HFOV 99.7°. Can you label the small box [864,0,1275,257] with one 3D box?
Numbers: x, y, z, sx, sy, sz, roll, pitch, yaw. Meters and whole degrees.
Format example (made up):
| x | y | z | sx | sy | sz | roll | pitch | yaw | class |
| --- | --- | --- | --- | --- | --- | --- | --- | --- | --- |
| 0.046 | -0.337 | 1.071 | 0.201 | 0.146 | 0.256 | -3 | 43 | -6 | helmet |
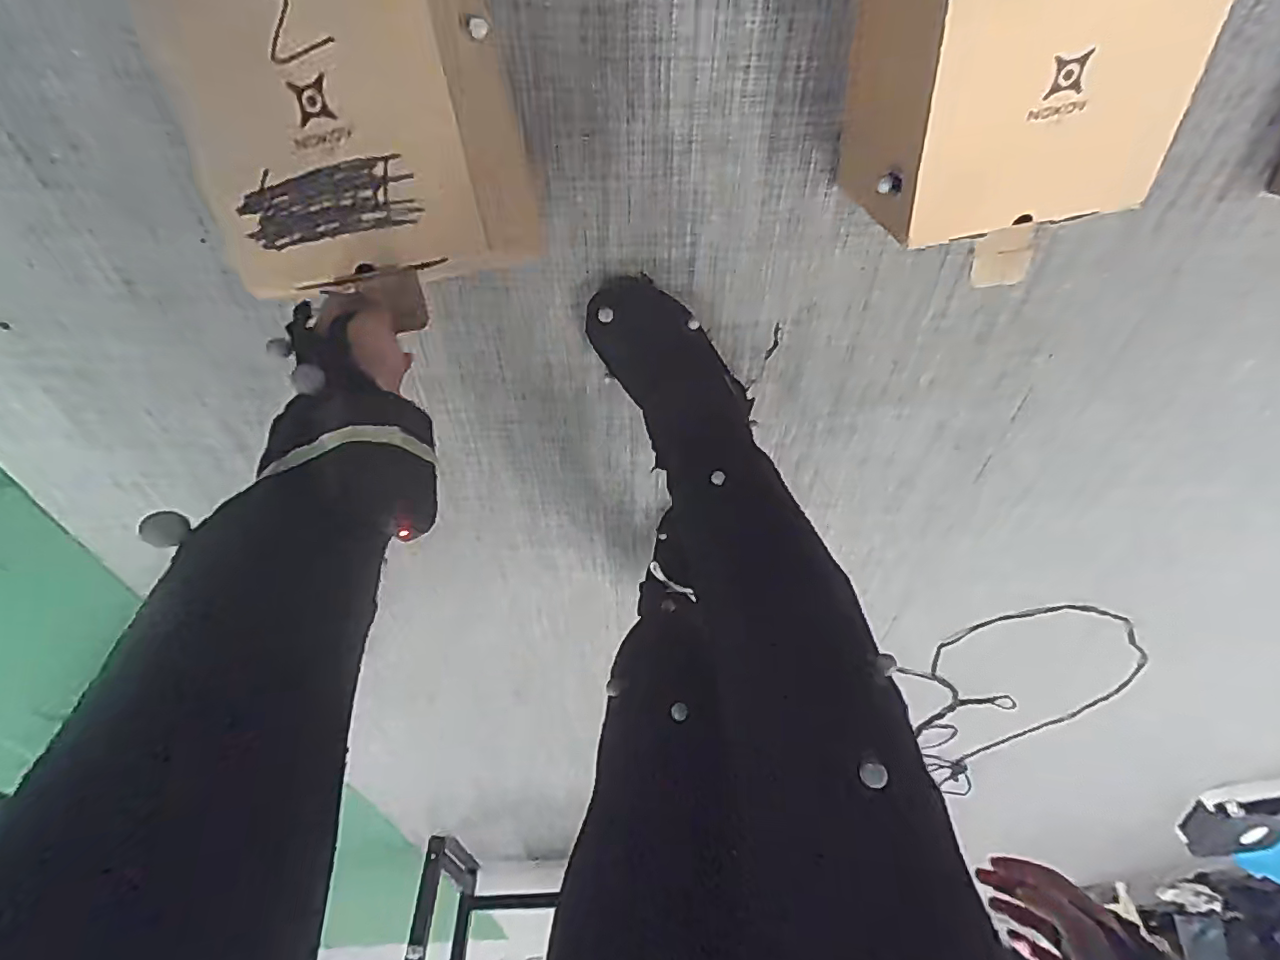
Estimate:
| x | y | z | sx | sy | sz | roll | pitch | yaw | class |
| --- | --- | --- | --- | --- | --- | --- | --- | --- | --- |
| 0.274 | -0.290 | 0.387 | 0.168 | 0.176 | 0.179 | -8 | 133 | 6 | small box |
